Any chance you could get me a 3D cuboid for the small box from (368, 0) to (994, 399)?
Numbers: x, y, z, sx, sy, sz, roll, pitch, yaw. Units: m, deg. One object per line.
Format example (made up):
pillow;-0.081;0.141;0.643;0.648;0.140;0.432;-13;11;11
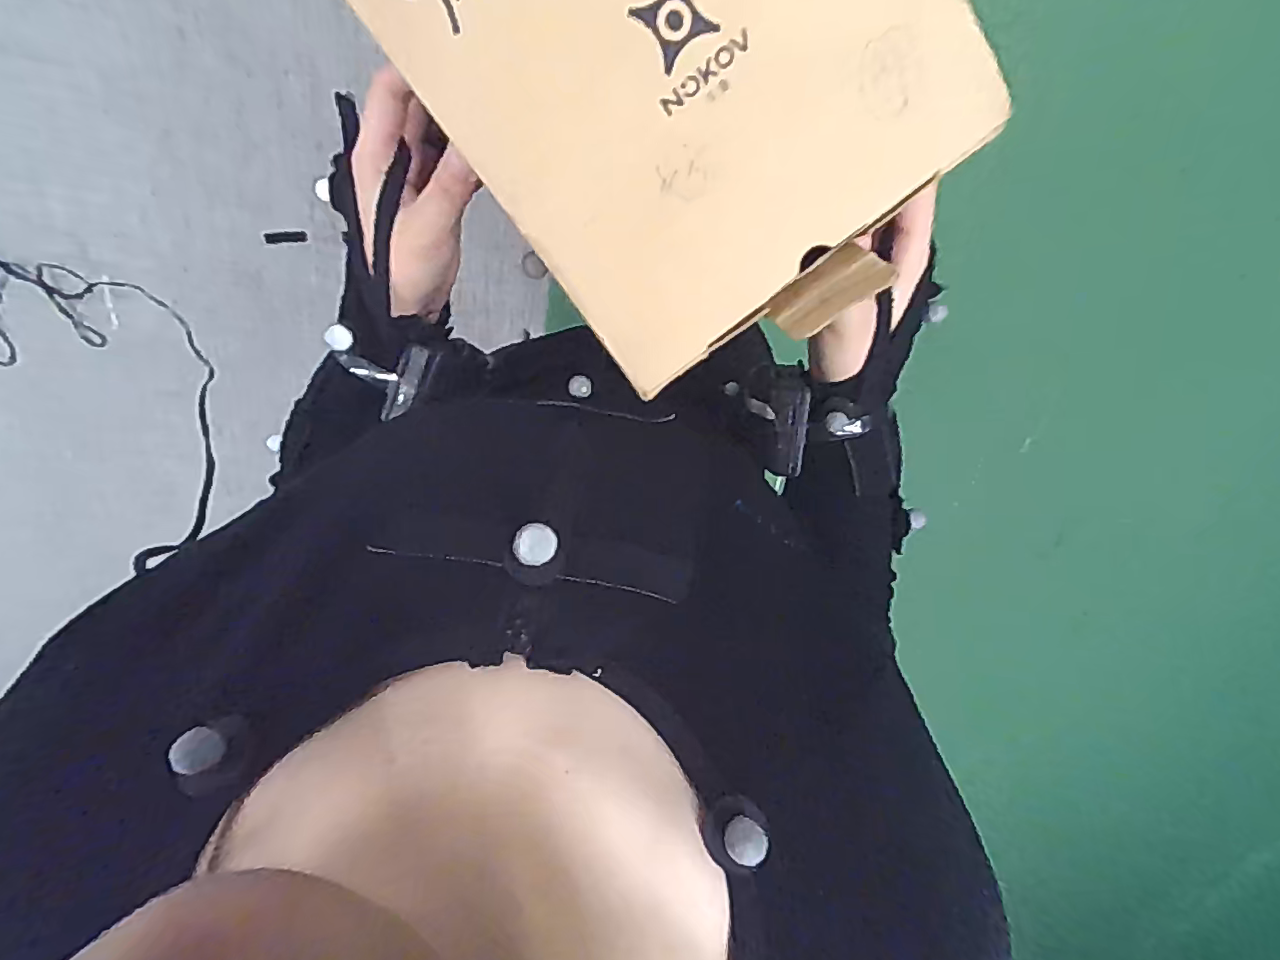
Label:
small box;0.017;-0.167;0.269;0.168;0.176;0.179;-35;105;7
